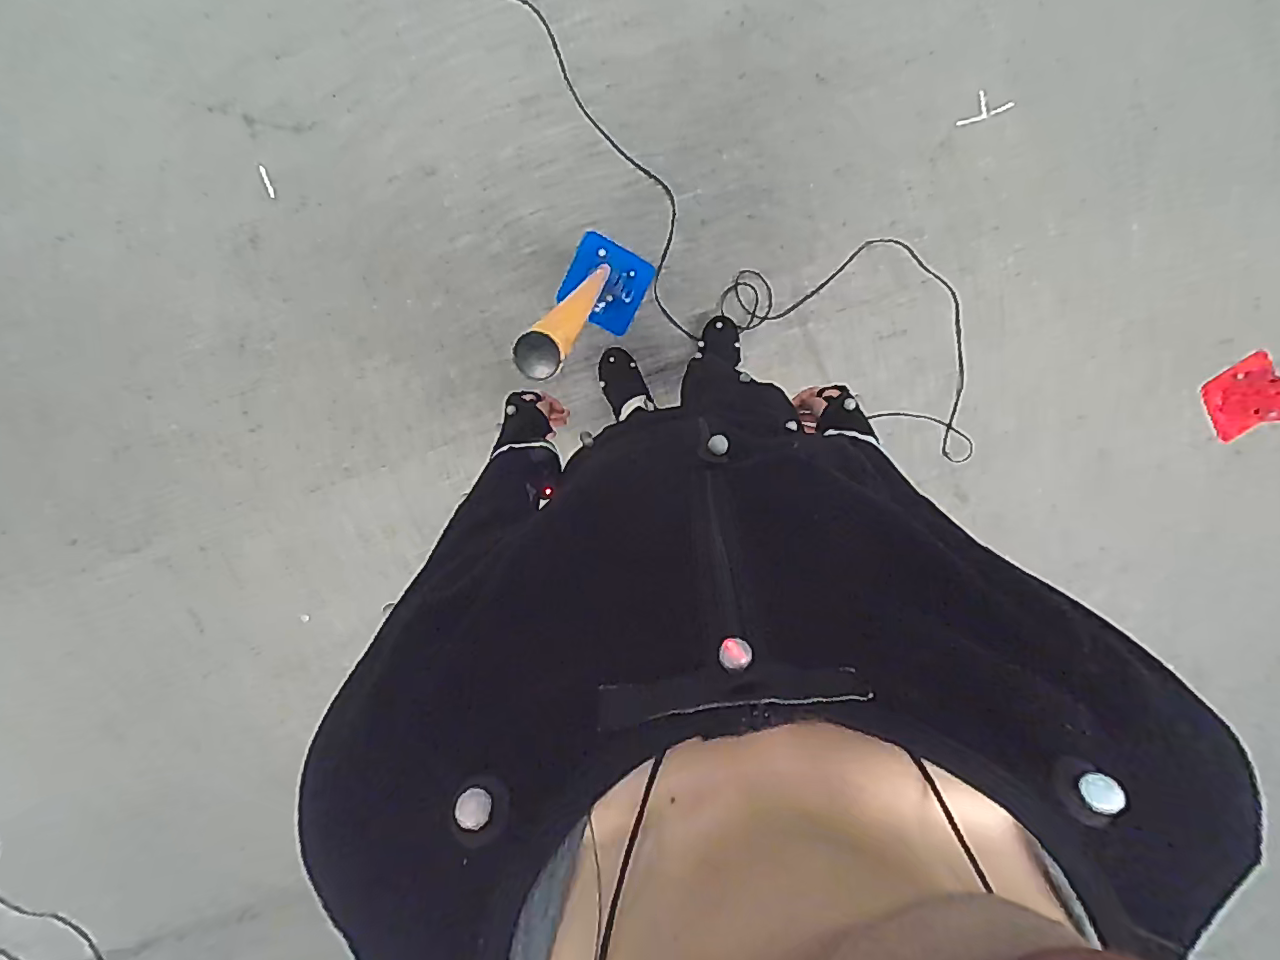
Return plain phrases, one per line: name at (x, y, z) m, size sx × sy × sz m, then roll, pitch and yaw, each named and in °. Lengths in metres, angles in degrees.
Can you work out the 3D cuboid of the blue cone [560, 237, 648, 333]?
blue cone at (-0.081, -0.439, 1.198) m, size 0.192 × 0.380 × 0.193 m, roll 25°, pitch 103°, yaw -9°
